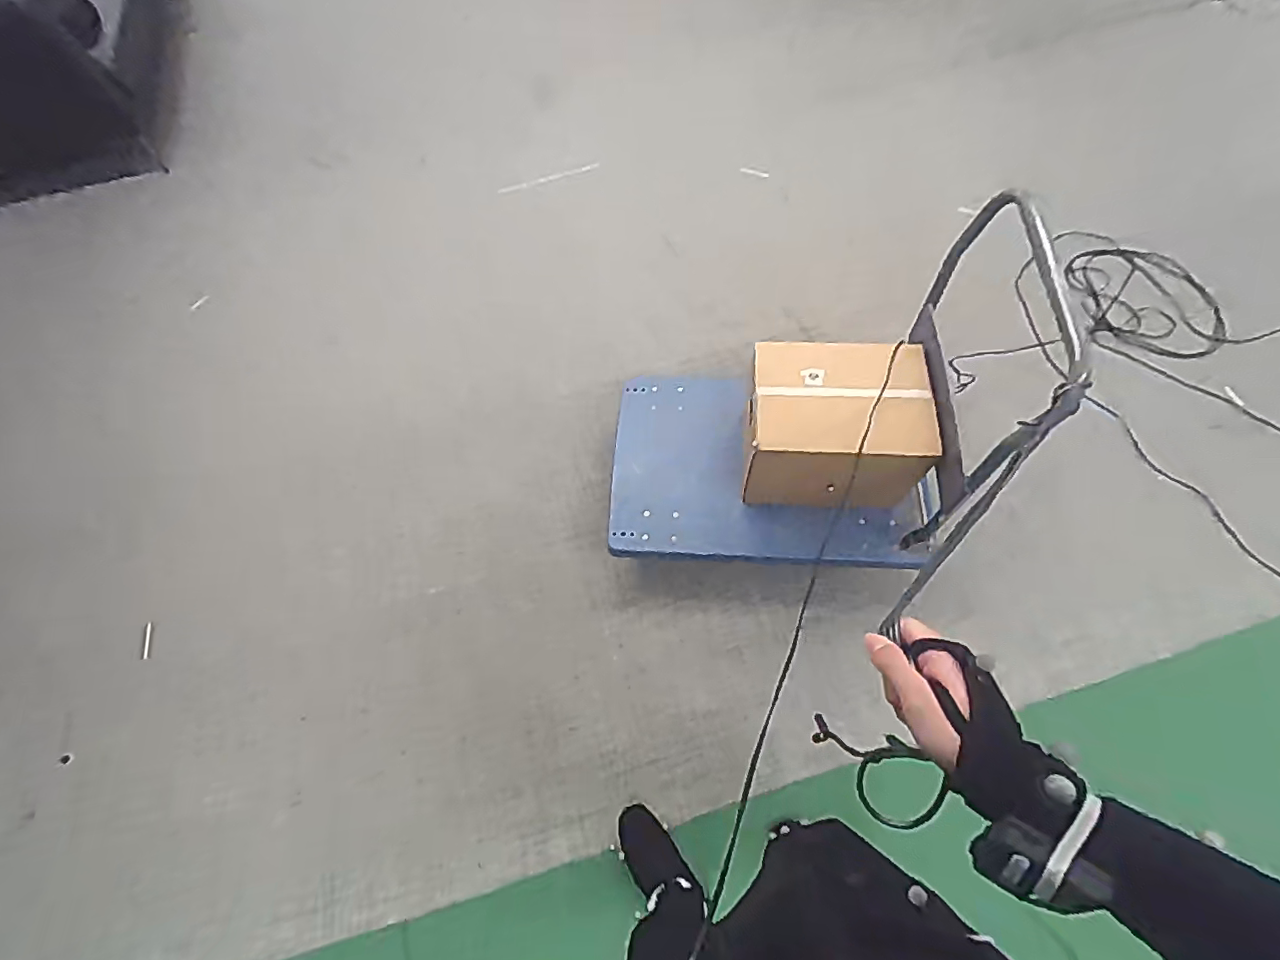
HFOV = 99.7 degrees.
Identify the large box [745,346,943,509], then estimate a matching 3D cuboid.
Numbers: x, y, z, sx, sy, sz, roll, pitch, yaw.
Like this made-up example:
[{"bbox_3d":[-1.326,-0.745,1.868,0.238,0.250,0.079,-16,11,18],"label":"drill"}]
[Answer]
[{"bbox_3d":[0.485,-0.125,1.389,0.408,0.320,0.320,2,64,6],"label":"large box"}]
